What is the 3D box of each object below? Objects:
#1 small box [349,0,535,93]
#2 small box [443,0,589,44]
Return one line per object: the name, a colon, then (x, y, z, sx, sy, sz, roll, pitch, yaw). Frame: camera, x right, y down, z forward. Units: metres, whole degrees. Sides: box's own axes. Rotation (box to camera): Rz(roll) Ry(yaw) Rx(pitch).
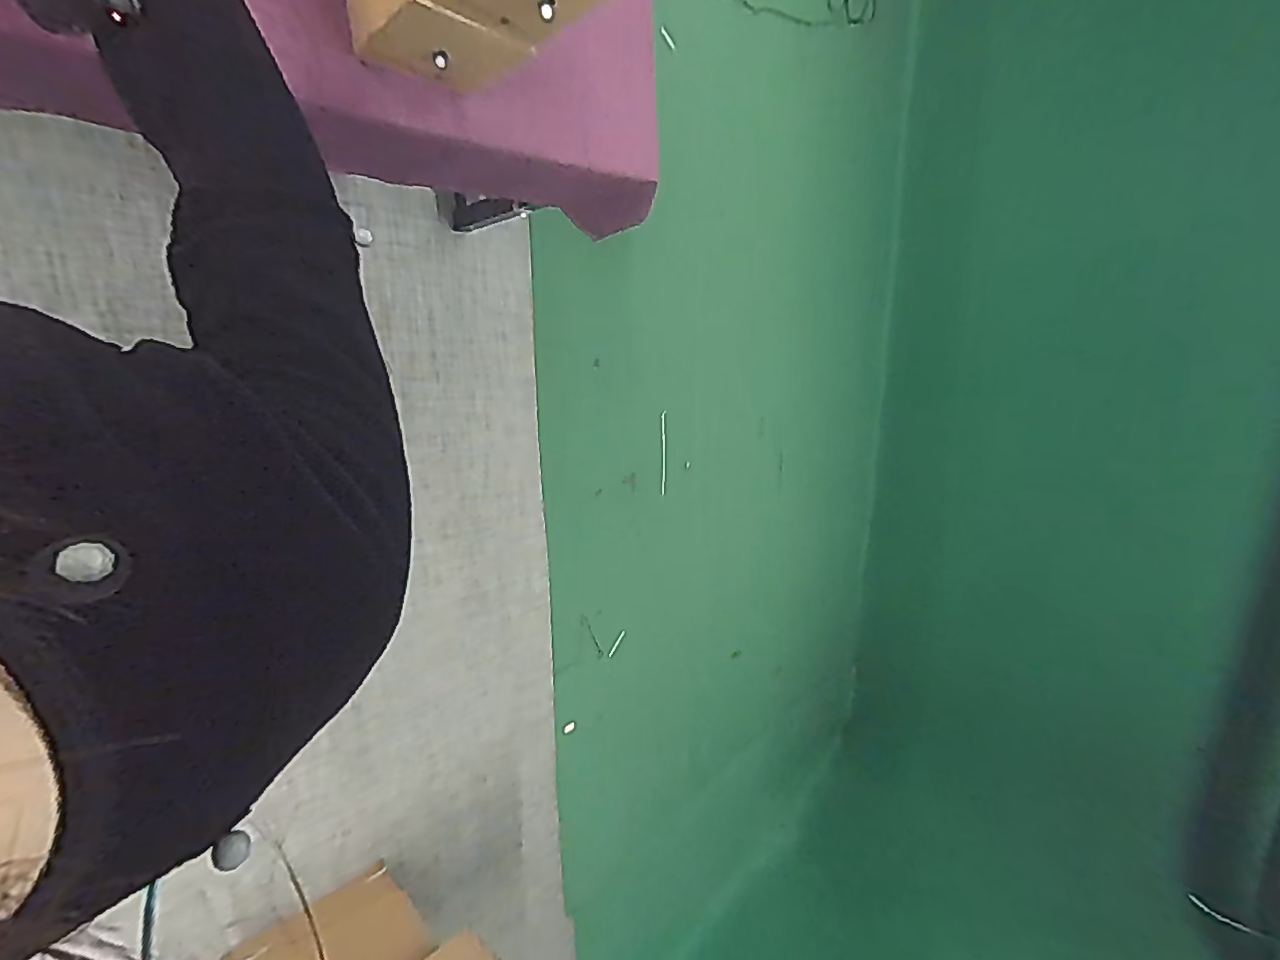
small box: (-0.251, -0.622, 0.672, 0.168, 0.176, 0.179, -16, 109, -44)
small box: (-0.134, -0.605, 0.559, 0.168, 0.176, 0.179, -13, 107, -44)
